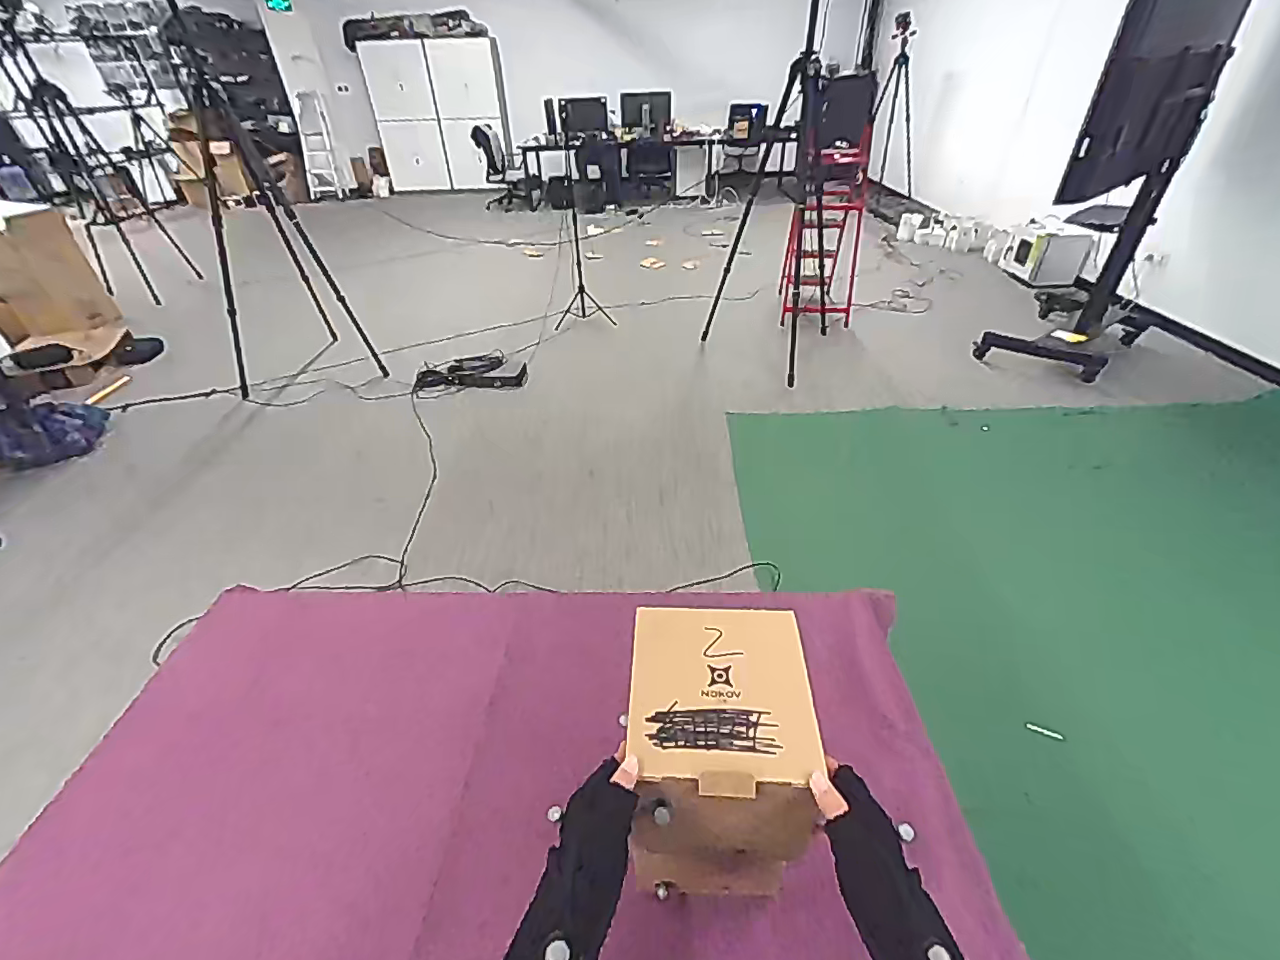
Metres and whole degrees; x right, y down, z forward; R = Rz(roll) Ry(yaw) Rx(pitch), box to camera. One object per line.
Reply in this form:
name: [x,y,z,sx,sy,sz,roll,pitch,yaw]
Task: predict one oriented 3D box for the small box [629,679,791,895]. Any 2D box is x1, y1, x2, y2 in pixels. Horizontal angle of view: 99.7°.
small box: [0.079,0.370,0.653,0.168,0.176,0.179,3,38,4]
